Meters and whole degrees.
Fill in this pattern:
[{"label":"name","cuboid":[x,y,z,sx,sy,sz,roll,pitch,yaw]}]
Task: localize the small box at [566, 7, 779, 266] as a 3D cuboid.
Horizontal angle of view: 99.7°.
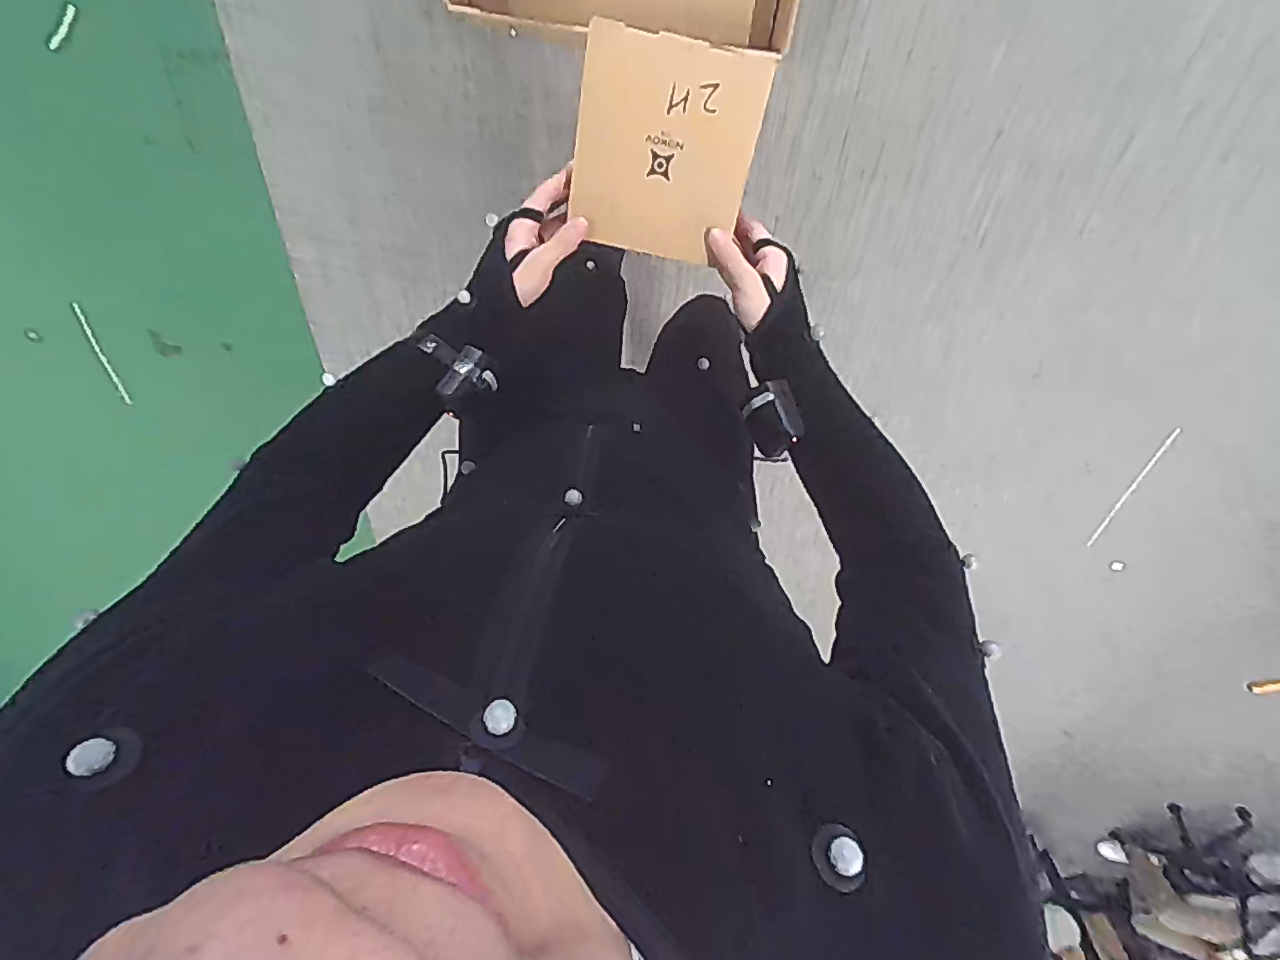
[{"label":"small box","cuboid":[0.028,-0.345,0.565,0.168,0.176,0.179,11,120,-4]}]
